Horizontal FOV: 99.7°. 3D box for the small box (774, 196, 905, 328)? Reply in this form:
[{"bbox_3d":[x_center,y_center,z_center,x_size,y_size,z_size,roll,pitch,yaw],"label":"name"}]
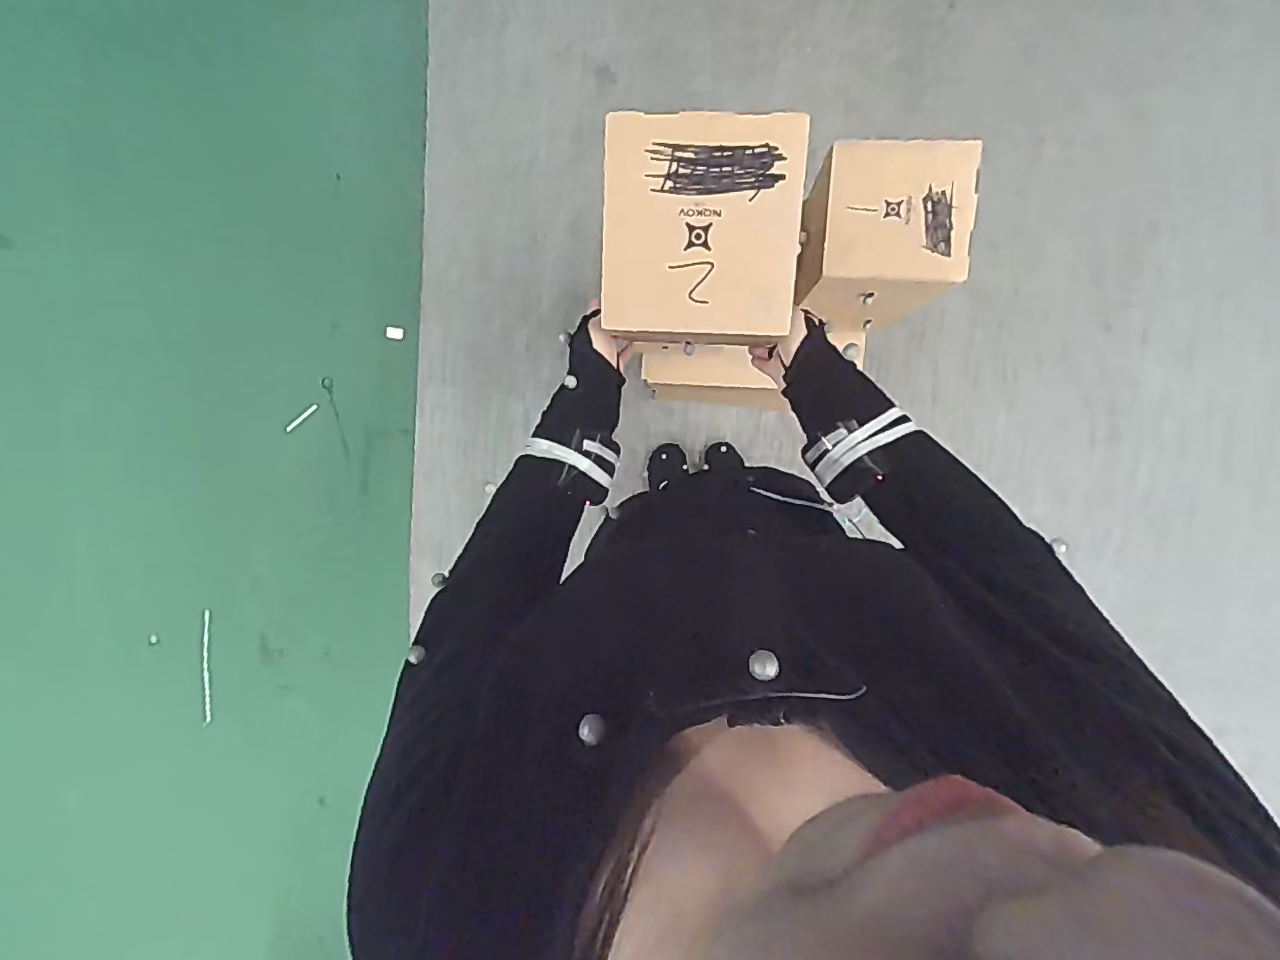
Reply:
[{"bbox_3d":[0.331,-0.354,0.903,0.179,0.176,0.168,4,96,5],"label":"small box"}]

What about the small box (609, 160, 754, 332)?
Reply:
[{"bbox_3d":[0.056,-0.314,0.760,0.168,0.176,0.179,7,97,2],"label":"small box"}]

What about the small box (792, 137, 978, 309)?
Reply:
[{"bbox_3d":[0.319,-0.337,0.740,0.179,0.176,0.168,5,96,6],"label":"small box"}]

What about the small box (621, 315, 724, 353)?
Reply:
[{"bbox_3d":[0.064,-0.318,0.925,0.168,0.176,0.179,6,97,2],"label":"small box"}]
